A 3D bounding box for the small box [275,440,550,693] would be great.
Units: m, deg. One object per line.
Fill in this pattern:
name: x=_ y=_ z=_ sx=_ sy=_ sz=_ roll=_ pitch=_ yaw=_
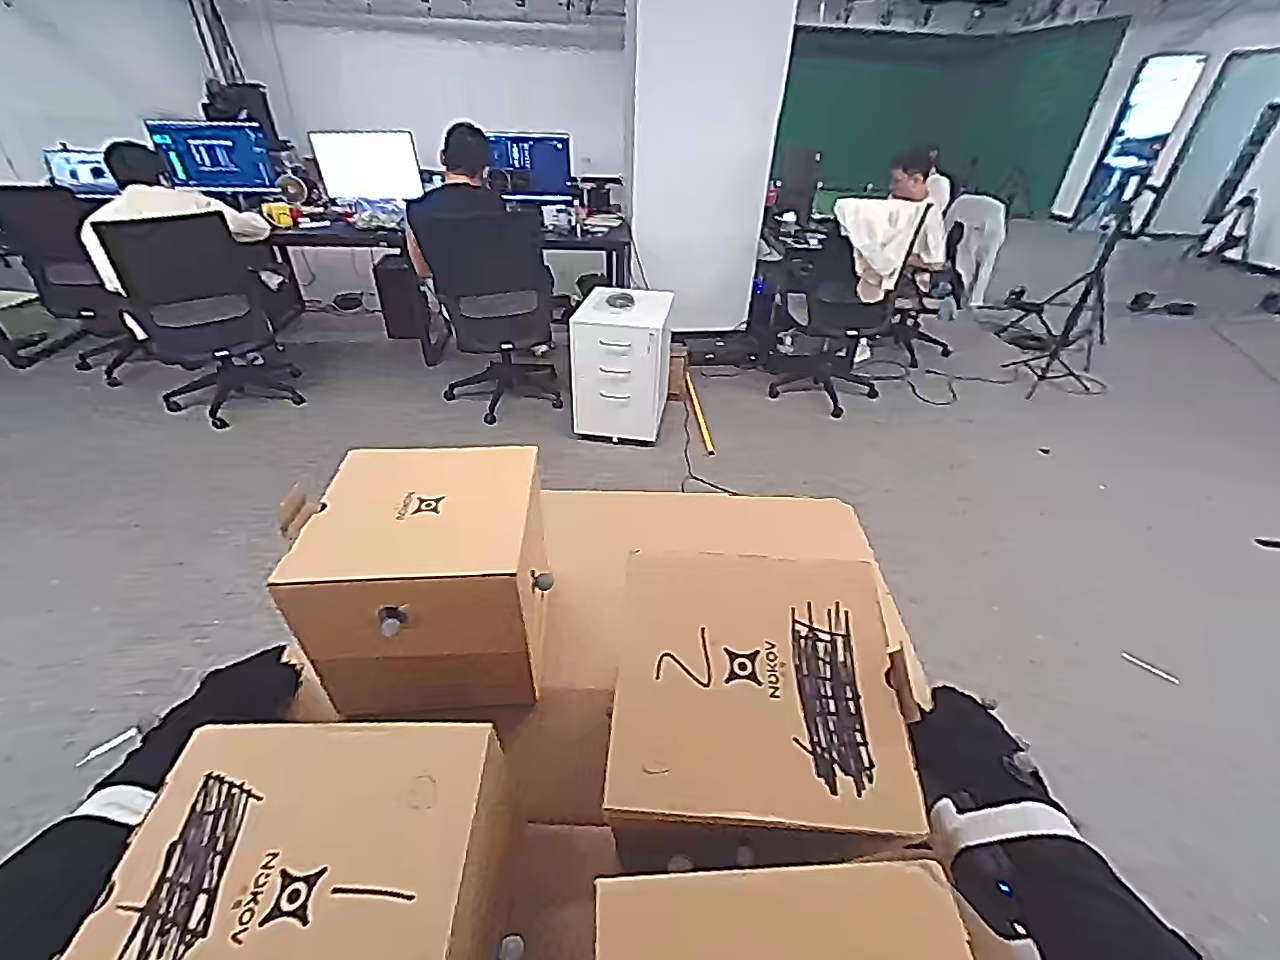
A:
small box: x=-0.181 y=0.078 z=0.502 sx=0.179 sy=0.176 sz=0.168 roll=-2 pitch=37 yaw=-3
